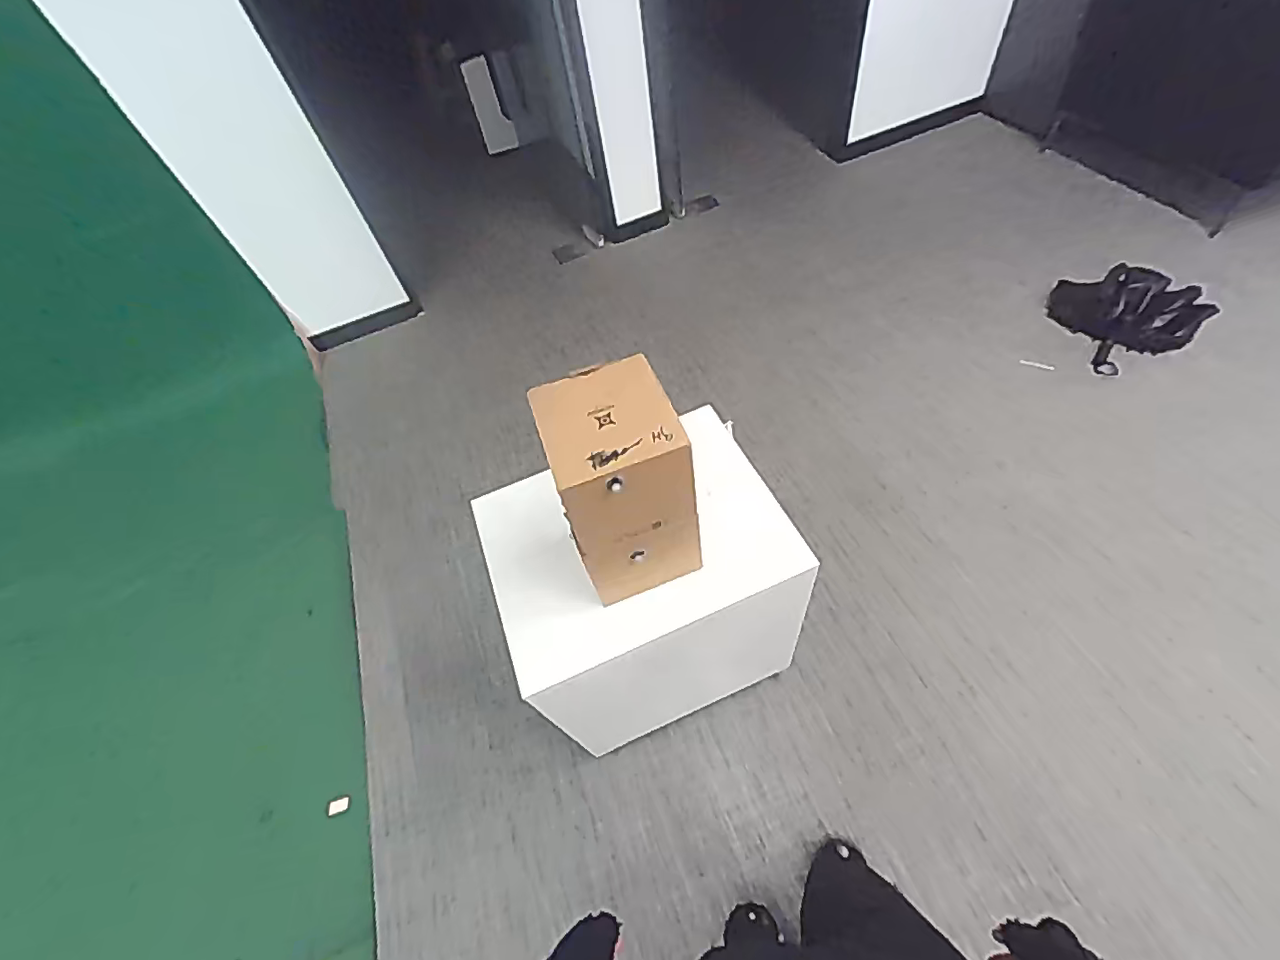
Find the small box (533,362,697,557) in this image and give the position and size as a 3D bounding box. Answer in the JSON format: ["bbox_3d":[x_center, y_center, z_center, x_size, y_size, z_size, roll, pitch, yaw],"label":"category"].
[{"bbox_3d":[-0.031,-0.025,0.742,0.168,0.176,0.179,-21,54,-8],"label":"small box"}]

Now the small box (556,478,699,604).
[{"bbox_3d":[-0.015,0.074,0.869,0.179,0.176,0.168,-20,54,-6],"label":"small box"}]
